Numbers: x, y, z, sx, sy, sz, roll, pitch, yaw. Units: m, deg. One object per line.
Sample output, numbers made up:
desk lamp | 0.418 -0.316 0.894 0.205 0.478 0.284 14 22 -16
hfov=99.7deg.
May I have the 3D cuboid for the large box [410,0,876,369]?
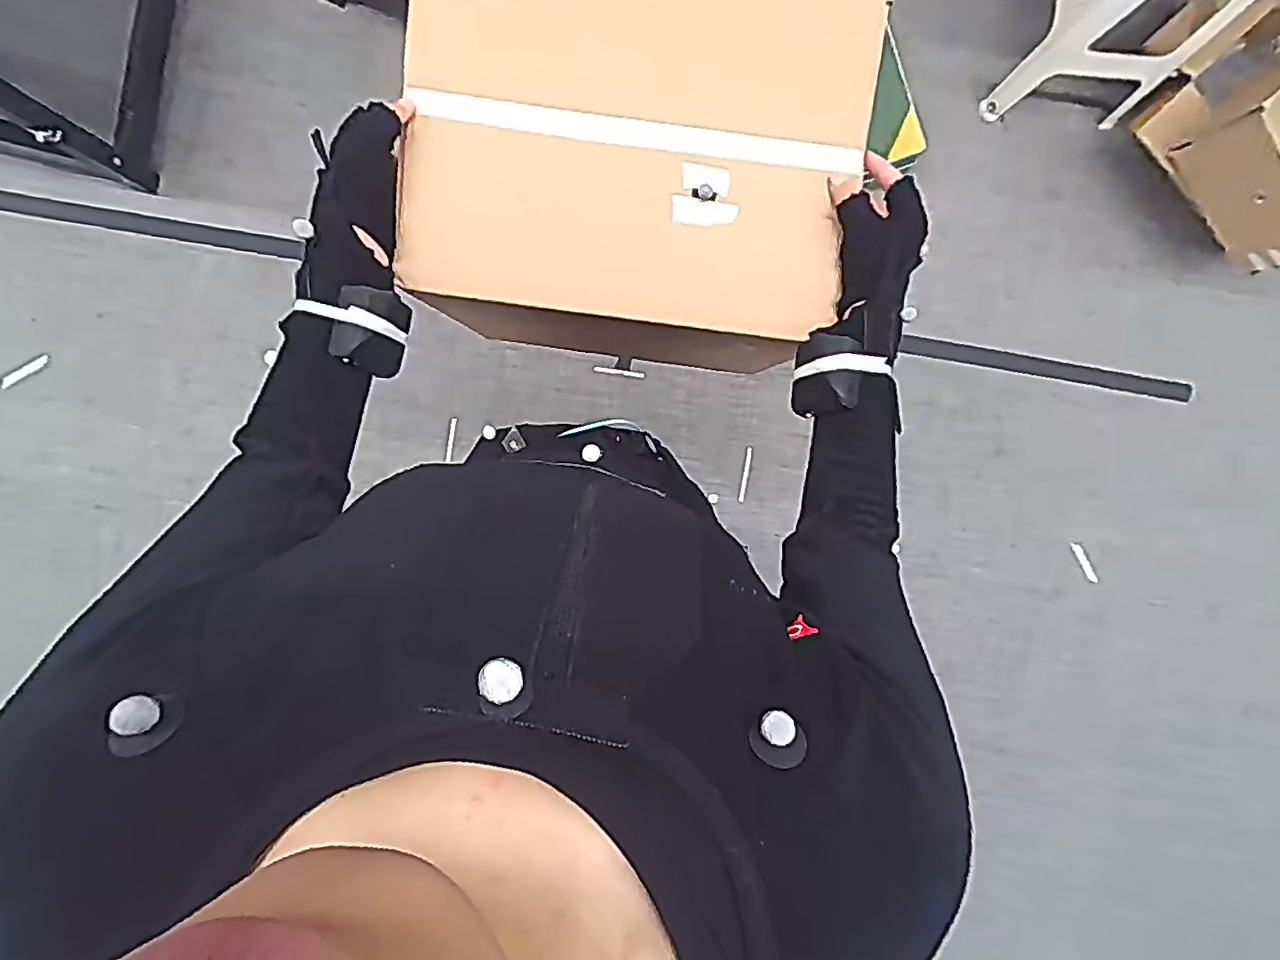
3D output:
large box | -0.007 -0.321 0.640 0.408 0.320 0.320 7 97 -3
